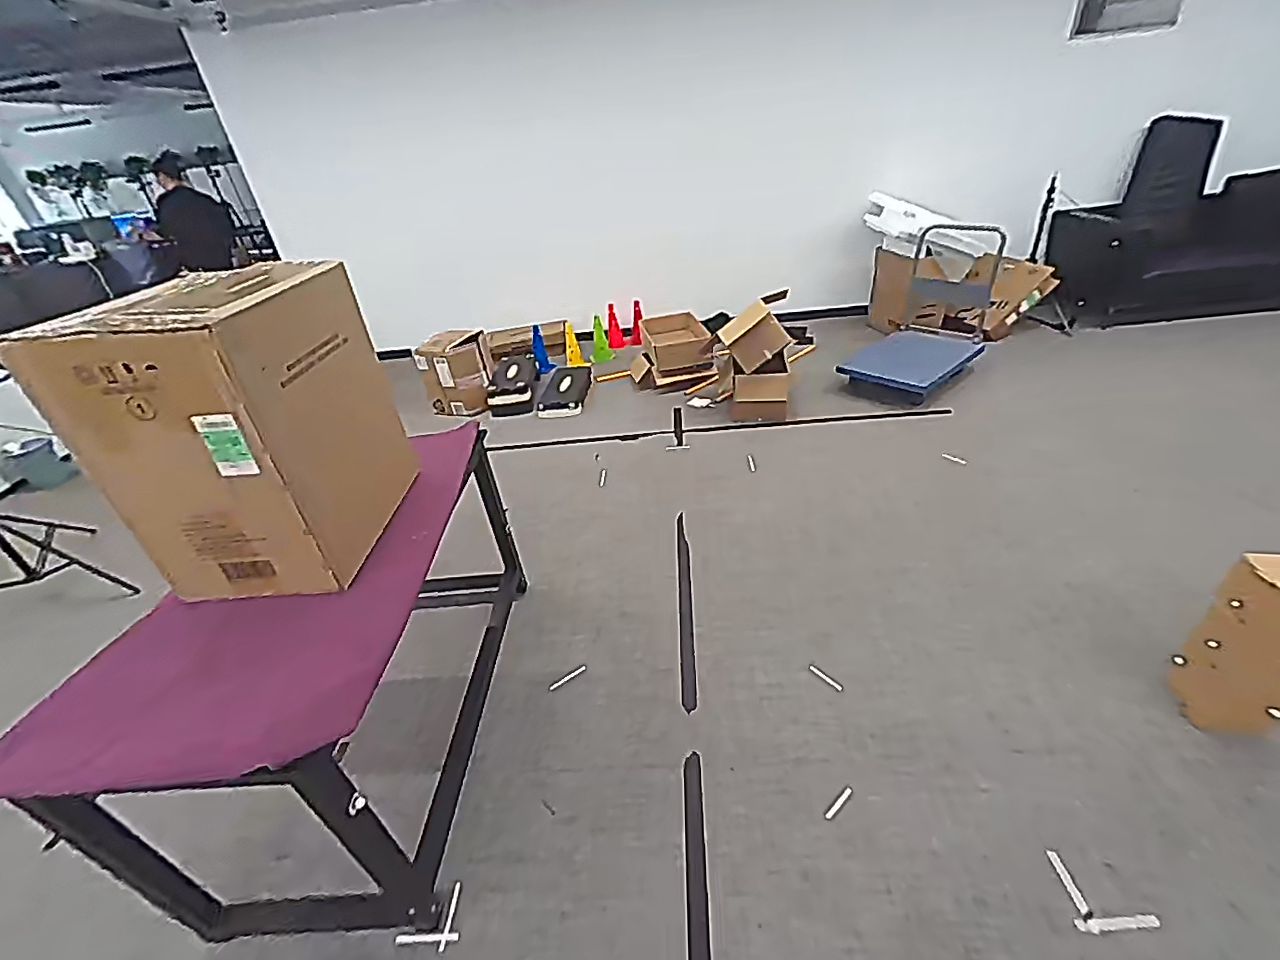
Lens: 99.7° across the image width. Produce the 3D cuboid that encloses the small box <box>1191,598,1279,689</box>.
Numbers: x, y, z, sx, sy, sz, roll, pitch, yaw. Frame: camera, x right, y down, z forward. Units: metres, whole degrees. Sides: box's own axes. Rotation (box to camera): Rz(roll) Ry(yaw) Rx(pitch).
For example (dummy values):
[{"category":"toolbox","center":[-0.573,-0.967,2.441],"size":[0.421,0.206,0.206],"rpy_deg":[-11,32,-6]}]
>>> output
[{"category":"small box","center":[1.631,0.433,1.434],"size":[0.179,0.176,0.168],"rpy_deg":[0,33,9]}]

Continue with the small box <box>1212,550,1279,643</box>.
[{"category":"small box","center":[1.618,0.294,1.351],"size":[0.179,0.176,0.168],"rpy_deg":[-1,32,10]}]
